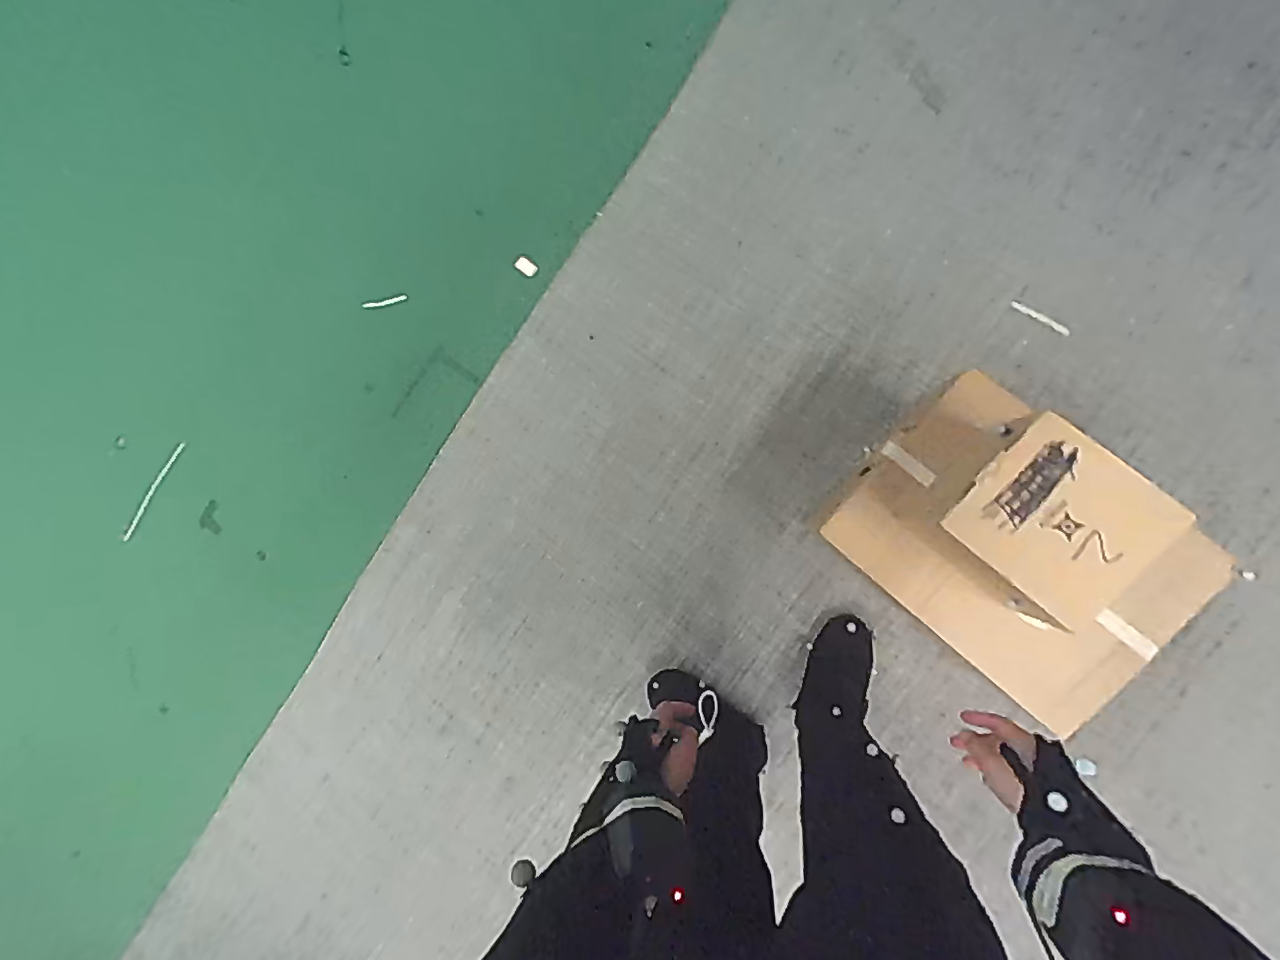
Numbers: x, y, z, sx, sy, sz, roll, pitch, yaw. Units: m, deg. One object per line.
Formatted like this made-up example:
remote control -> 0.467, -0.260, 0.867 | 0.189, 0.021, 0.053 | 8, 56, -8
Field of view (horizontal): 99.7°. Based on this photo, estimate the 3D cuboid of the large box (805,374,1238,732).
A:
large box -> 0.532, 0.096, 0.869 | 0.408, 0.320, 0.320 | 41, 97, 11
